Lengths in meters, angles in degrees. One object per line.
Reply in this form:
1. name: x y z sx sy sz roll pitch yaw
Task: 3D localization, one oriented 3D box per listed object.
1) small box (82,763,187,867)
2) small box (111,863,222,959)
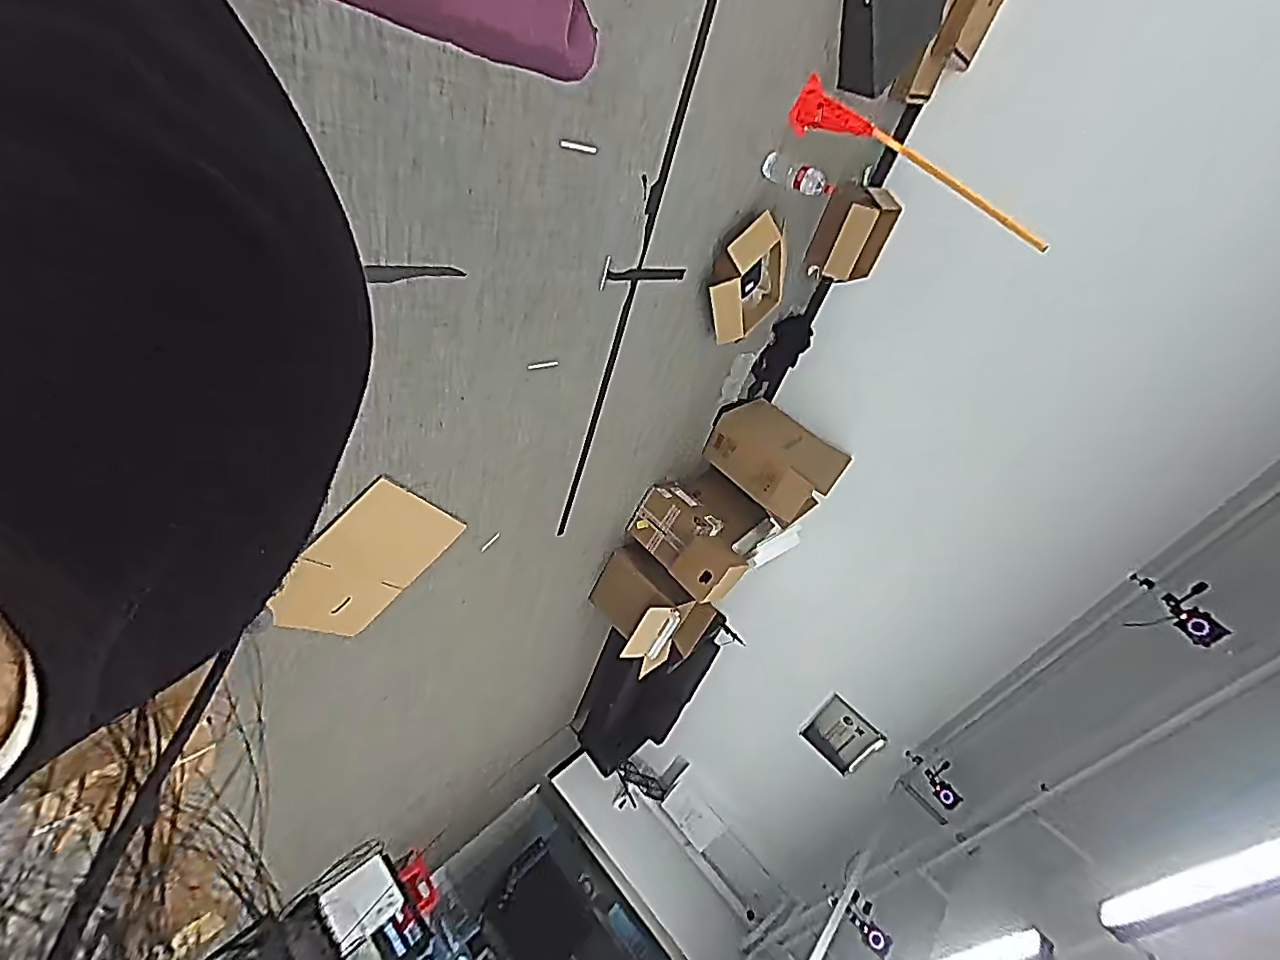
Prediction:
1. small box: -1.450 0.953 1.552 0.168 0.176 0.179 -25 146 -41
2. small box: -1.229 1.151 1.409 0.168 0.176 0.179 -24 145 -44
